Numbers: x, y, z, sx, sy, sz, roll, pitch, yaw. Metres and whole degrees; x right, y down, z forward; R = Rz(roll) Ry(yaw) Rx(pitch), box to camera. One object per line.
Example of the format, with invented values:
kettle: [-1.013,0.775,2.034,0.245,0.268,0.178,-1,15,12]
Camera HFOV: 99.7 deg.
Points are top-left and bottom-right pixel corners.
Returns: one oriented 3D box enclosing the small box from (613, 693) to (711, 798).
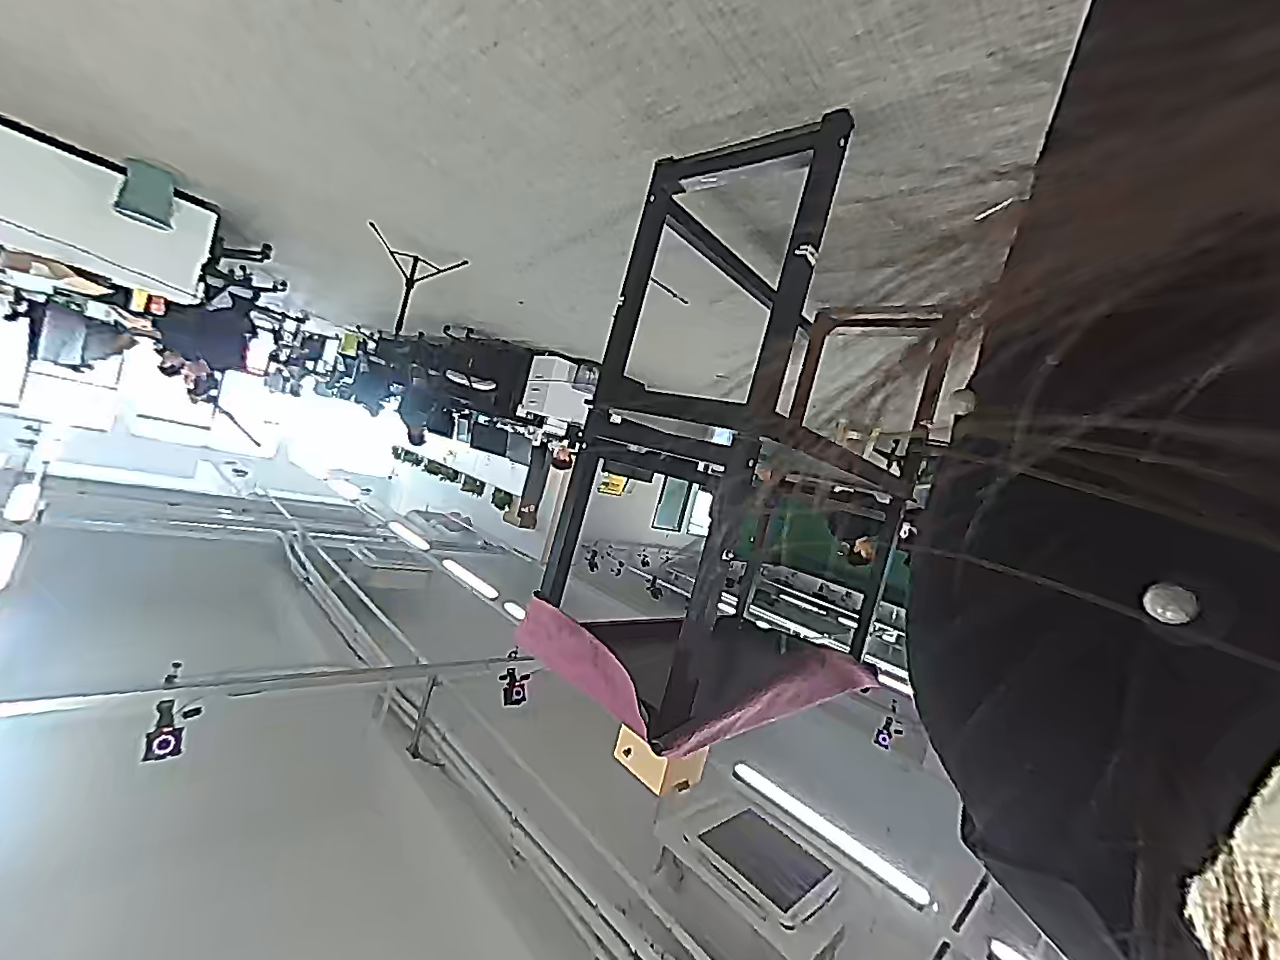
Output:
small box: [0.060,0.680,1.412,0.168,0.176,0.179,12,-176,-45]
